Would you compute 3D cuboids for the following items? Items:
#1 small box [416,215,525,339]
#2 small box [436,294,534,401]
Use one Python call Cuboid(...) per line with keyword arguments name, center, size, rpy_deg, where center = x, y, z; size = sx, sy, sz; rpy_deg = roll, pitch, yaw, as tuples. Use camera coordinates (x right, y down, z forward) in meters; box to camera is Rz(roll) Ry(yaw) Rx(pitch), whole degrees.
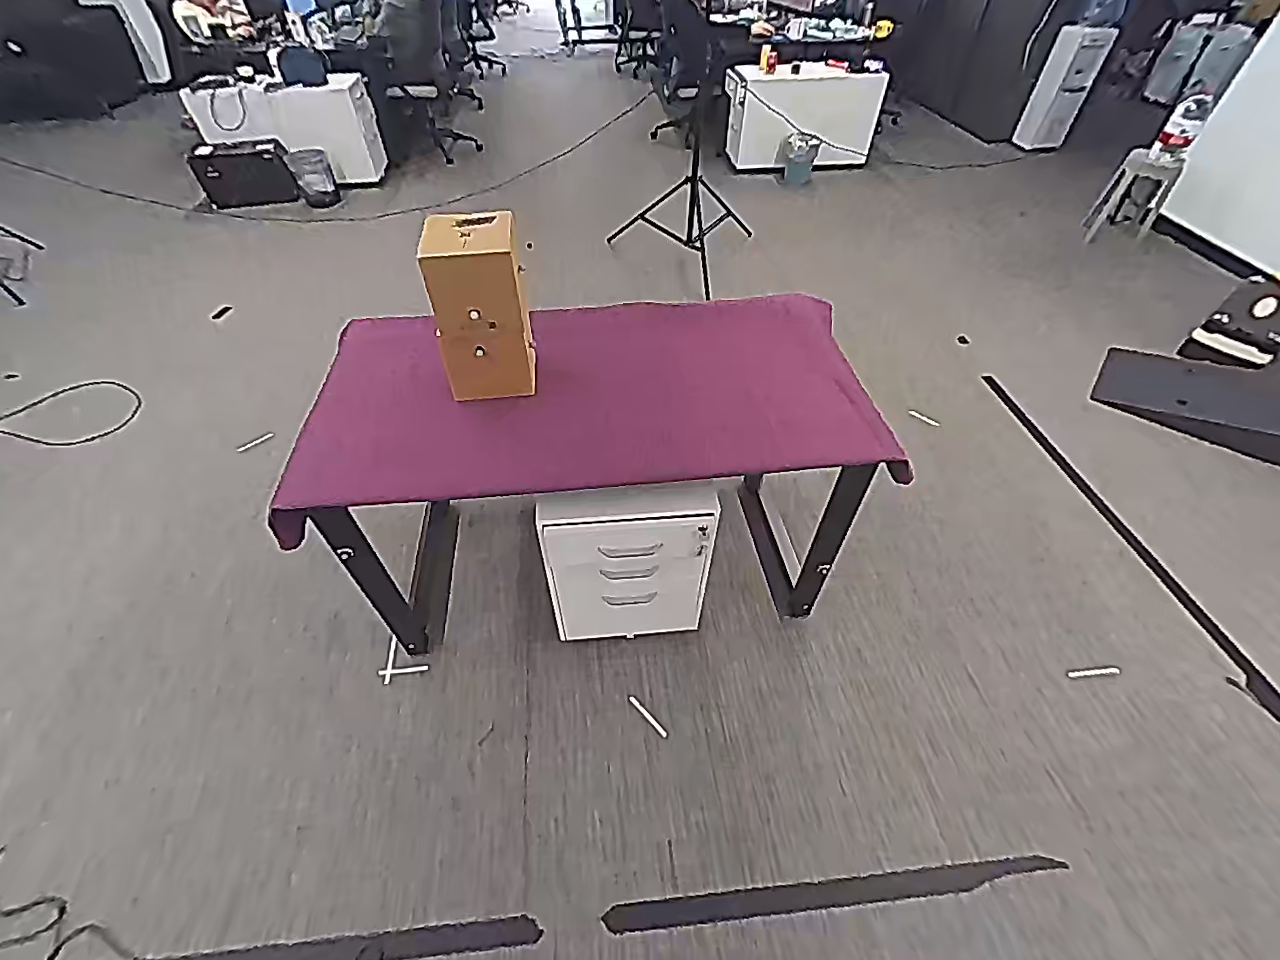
Cuboid(name="small box", center=(-0.325, -0.401, 1.068), size=(0.168, 0.176, 0.179), rpy_deg=(-6, 49, -5))
Cuboid(name="small box", center=(-0.330, -0.292, 1.191), size=(0.179, 0.176, 0.168), rpy_deg=(-5, 48, -5))
